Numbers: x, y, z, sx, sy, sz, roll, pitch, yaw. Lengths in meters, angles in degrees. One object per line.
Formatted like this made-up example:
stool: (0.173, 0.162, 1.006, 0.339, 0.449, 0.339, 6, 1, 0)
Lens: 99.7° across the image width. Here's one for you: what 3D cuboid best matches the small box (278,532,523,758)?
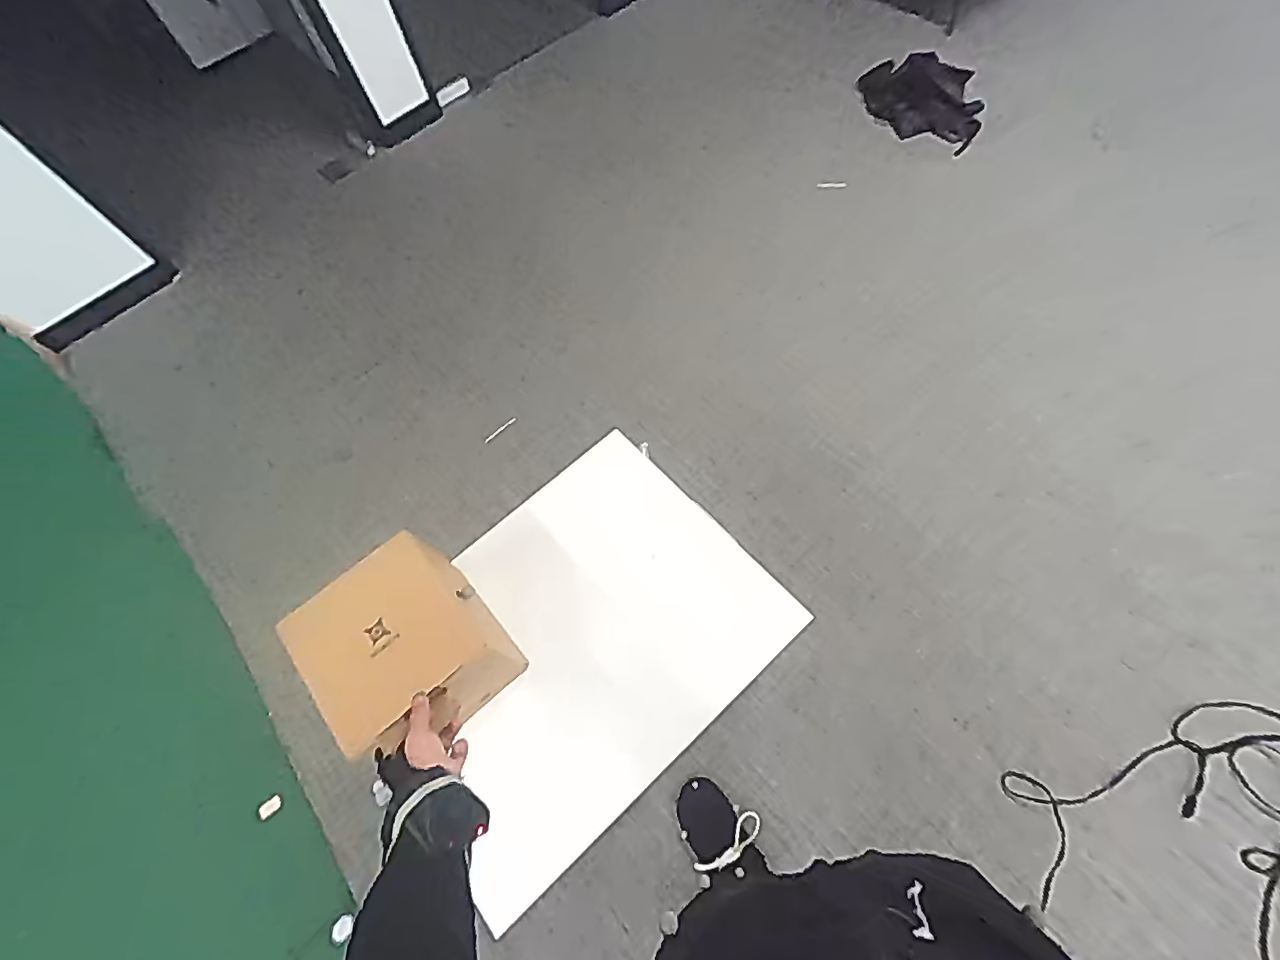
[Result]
small box: (-0.266, 0.198, 0.635, 0.168, 0.176, 0.179, -39, 68, -14)
